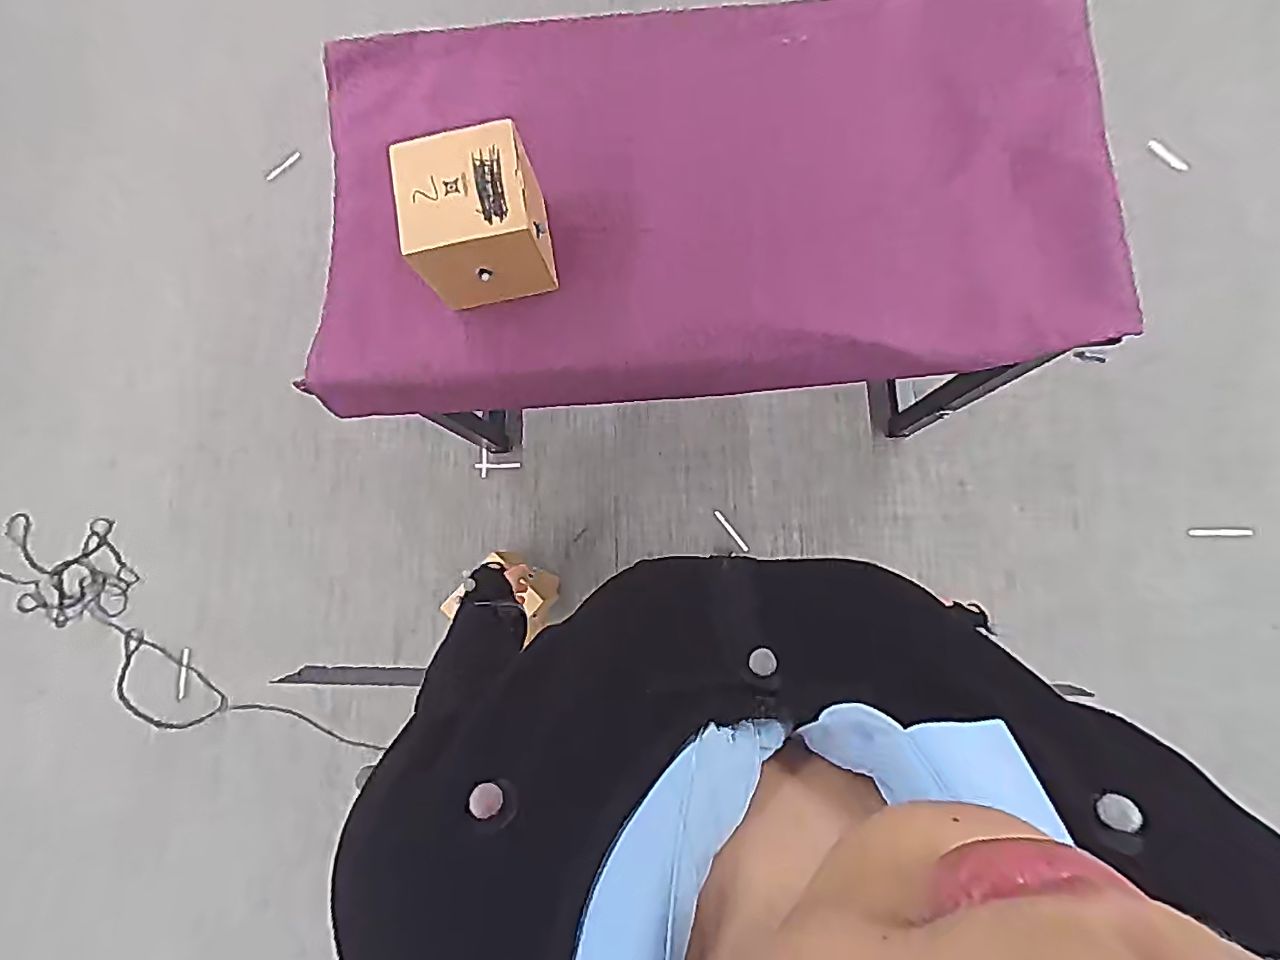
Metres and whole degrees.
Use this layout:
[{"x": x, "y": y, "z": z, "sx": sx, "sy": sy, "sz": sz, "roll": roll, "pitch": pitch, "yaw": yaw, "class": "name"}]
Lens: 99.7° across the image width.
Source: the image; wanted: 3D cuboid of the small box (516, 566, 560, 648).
[{"x": -0.330, "y": 0.324, "z": 1.447, "sx": 0.168, "sy": 0.176, "sz": 0.179, "roll": 21, "pitch": 84, "yaw": 6, "class": "small box"}]

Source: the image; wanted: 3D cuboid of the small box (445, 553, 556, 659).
[{"x": -0.319, "y": 0.291, "z": 1.284, "sx": 0.168, "sy": 0.176, "sz": 0.179, "roll": 43, "pitch": 86, "yaw": 9, "class": "small box"}]
